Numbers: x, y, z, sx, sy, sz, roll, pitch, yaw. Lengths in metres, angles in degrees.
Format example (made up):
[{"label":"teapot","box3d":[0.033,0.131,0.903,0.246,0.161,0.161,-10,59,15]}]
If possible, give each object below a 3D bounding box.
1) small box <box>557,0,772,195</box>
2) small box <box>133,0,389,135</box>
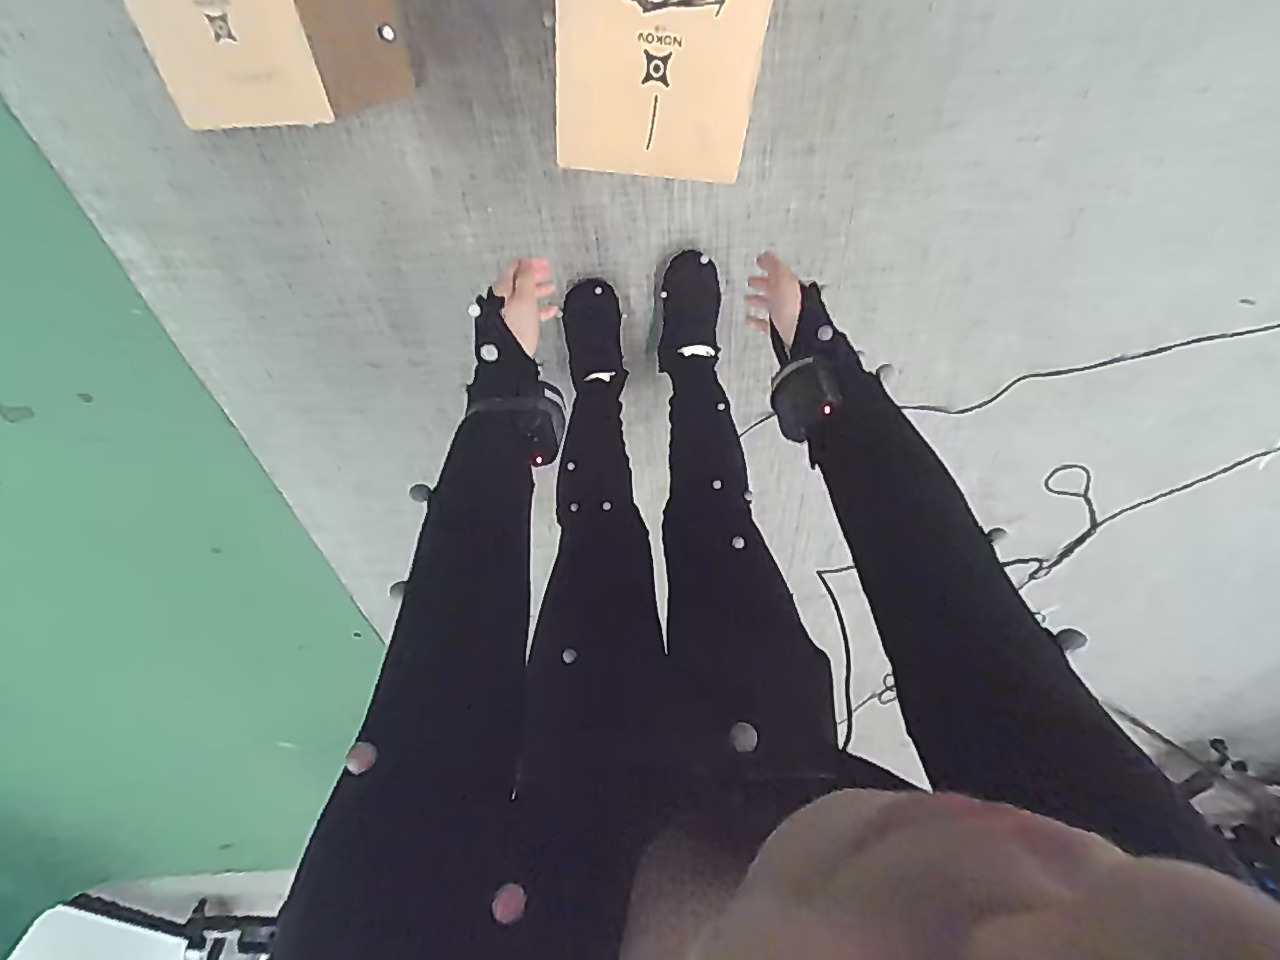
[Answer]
[{"label":"small box","box3d":[0.012,-0.389,0.499,0.168,0.176,0.179,3,134,-5]},{"label":"small box","box3d":[-0.411,-0.504,0.601,0.168,0.176,0.179,-2,133,2]}]
